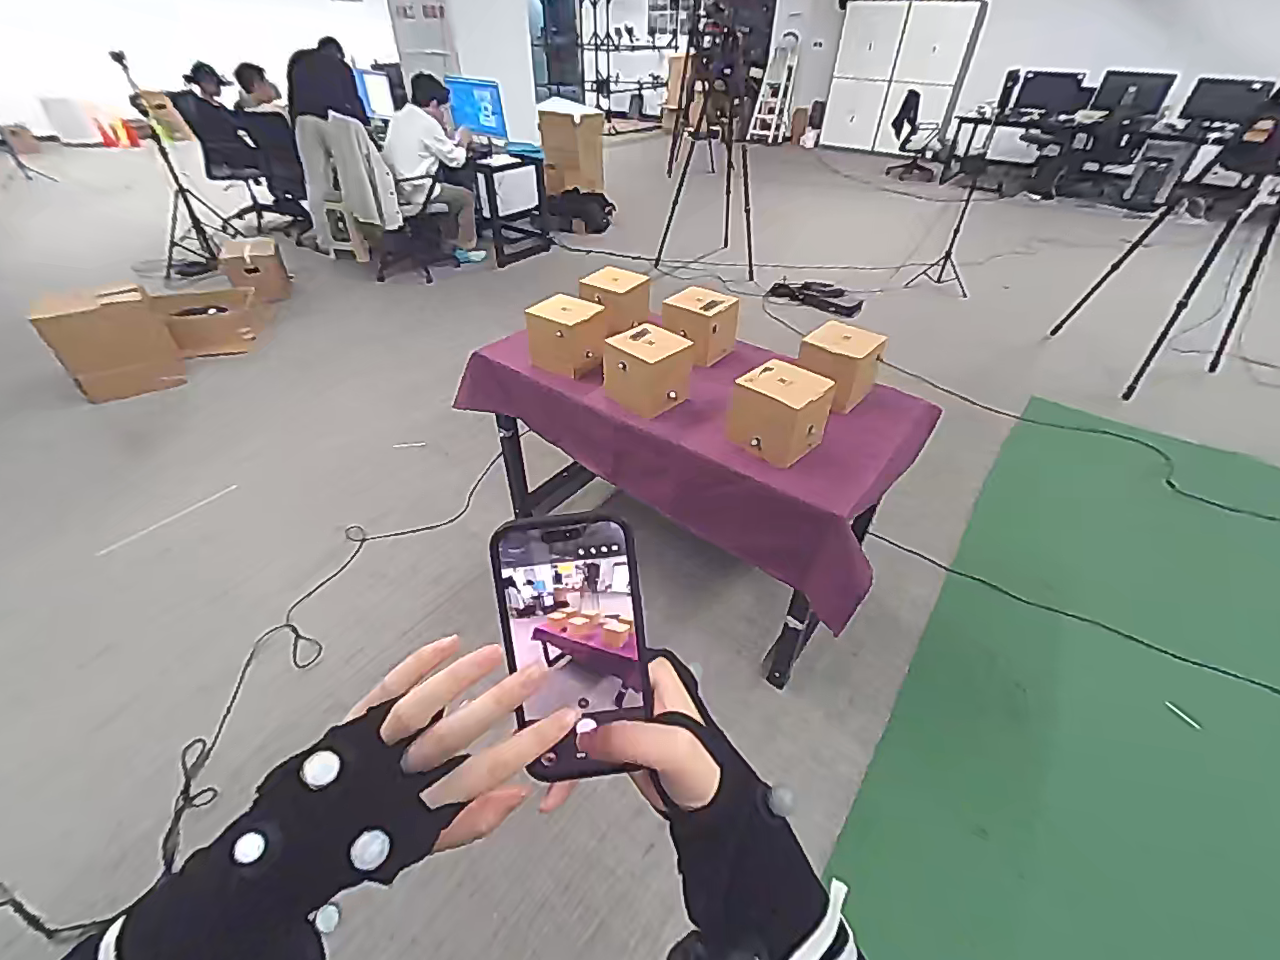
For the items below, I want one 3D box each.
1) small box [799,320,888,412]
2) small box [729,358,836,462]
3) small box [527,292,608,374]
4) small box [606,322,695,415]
[{"bbox_3d":[0.543,-0.313,1.482,0.168,0.176,0.179,30,49,30],"label":"small box"},{"bbox_3d":[0.336,-0.164,1.299,0.168,0.176,0.179,-32,50,-34],"label":"small box"},{"bbox_3d":[-0.212,-0.435,1.604,0.179,0.176,0.168,24,45,23],"label":"small box"},{"bbox_3d":[0.025,-0.299,1.450,0.179,0.176,0.168,33,49,31],"label":"small box"}]
